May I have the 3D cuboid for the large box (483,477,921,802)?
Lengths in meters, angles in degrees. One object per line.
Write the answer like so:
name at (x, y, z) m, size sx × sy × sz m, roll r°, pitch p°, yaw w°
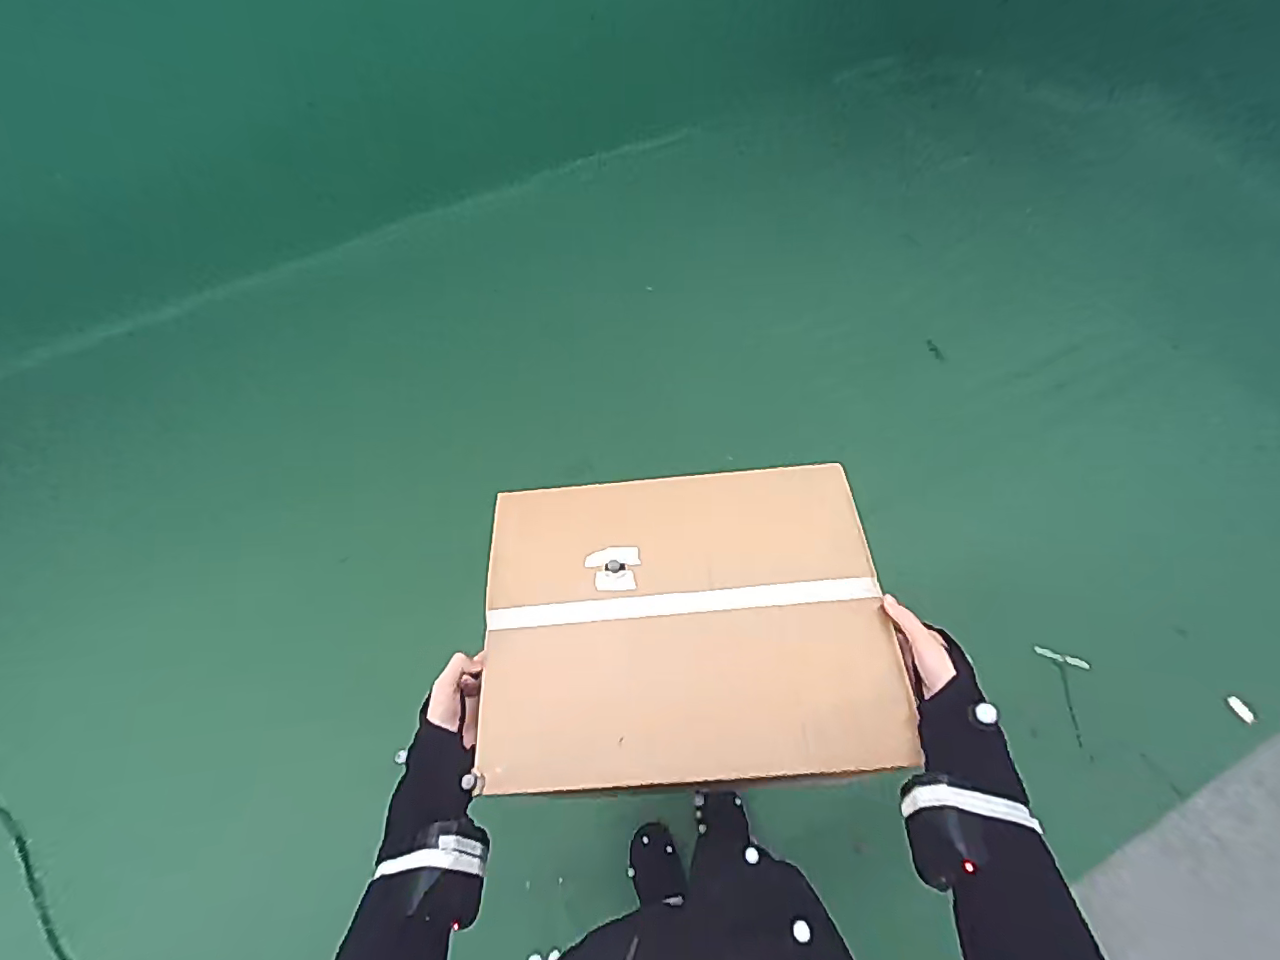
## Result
large box at (0.060, 0.220, 0.688) m, size 0.408 × 0.320 × 0.320 m, roll -5°, pitch 57°, yaw 3°
